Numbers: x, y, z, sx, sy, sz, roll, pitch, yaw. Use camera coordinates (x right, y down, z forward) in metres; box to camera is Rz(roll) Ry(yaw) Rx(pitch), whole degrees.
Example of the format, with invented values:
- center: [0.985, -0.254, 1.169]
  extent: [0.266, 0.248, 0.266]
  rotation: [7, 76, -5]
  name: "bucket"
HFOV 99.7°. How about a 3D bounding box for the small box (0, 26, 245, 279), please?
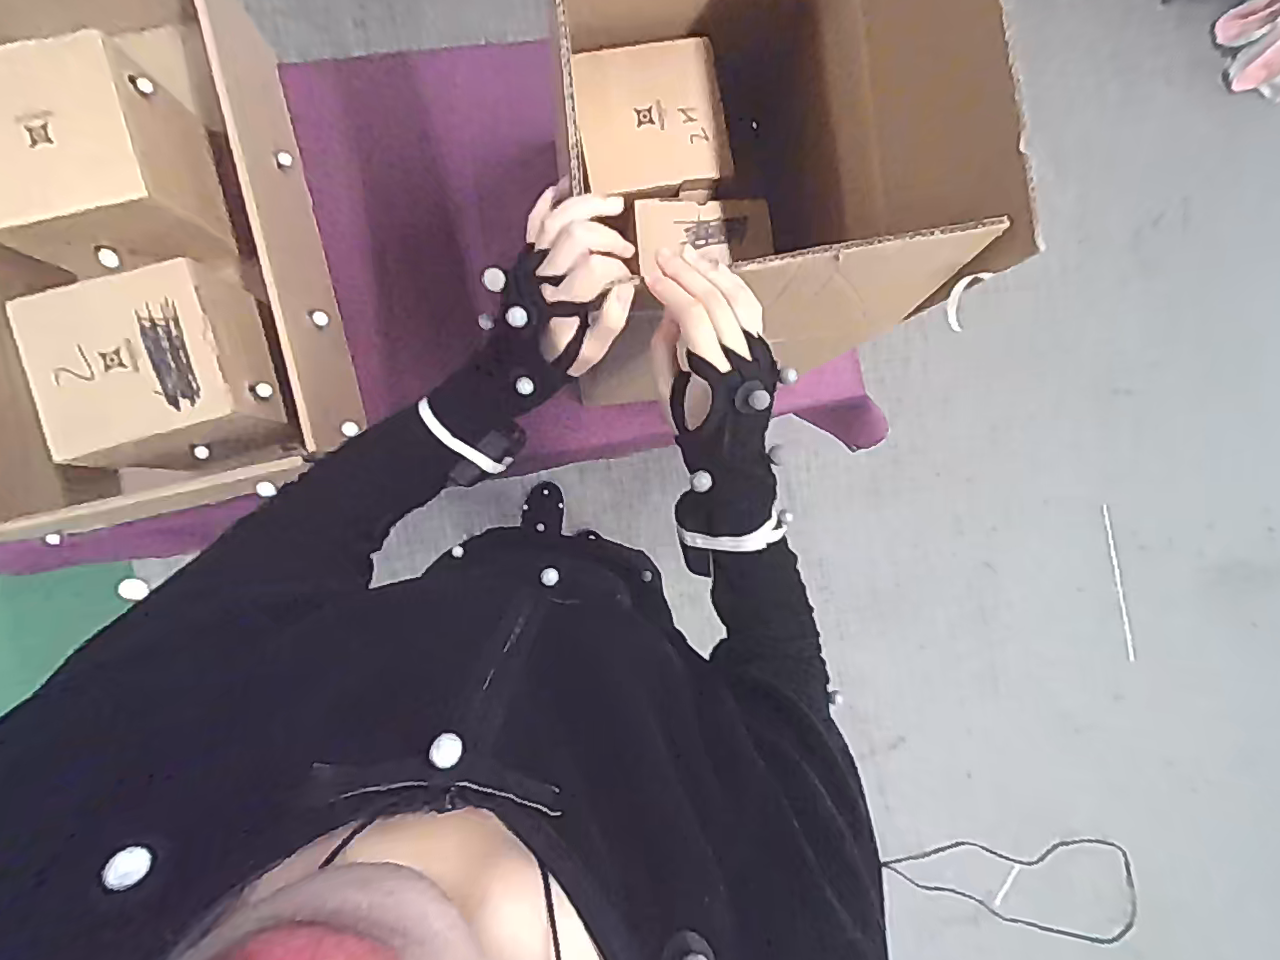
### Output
- center: [-0.597, -0.347, 0.612]
  extent: [0.168, 0.176, 0.179]
  rotation: [-16, 91, -5]
  name: "small box"
